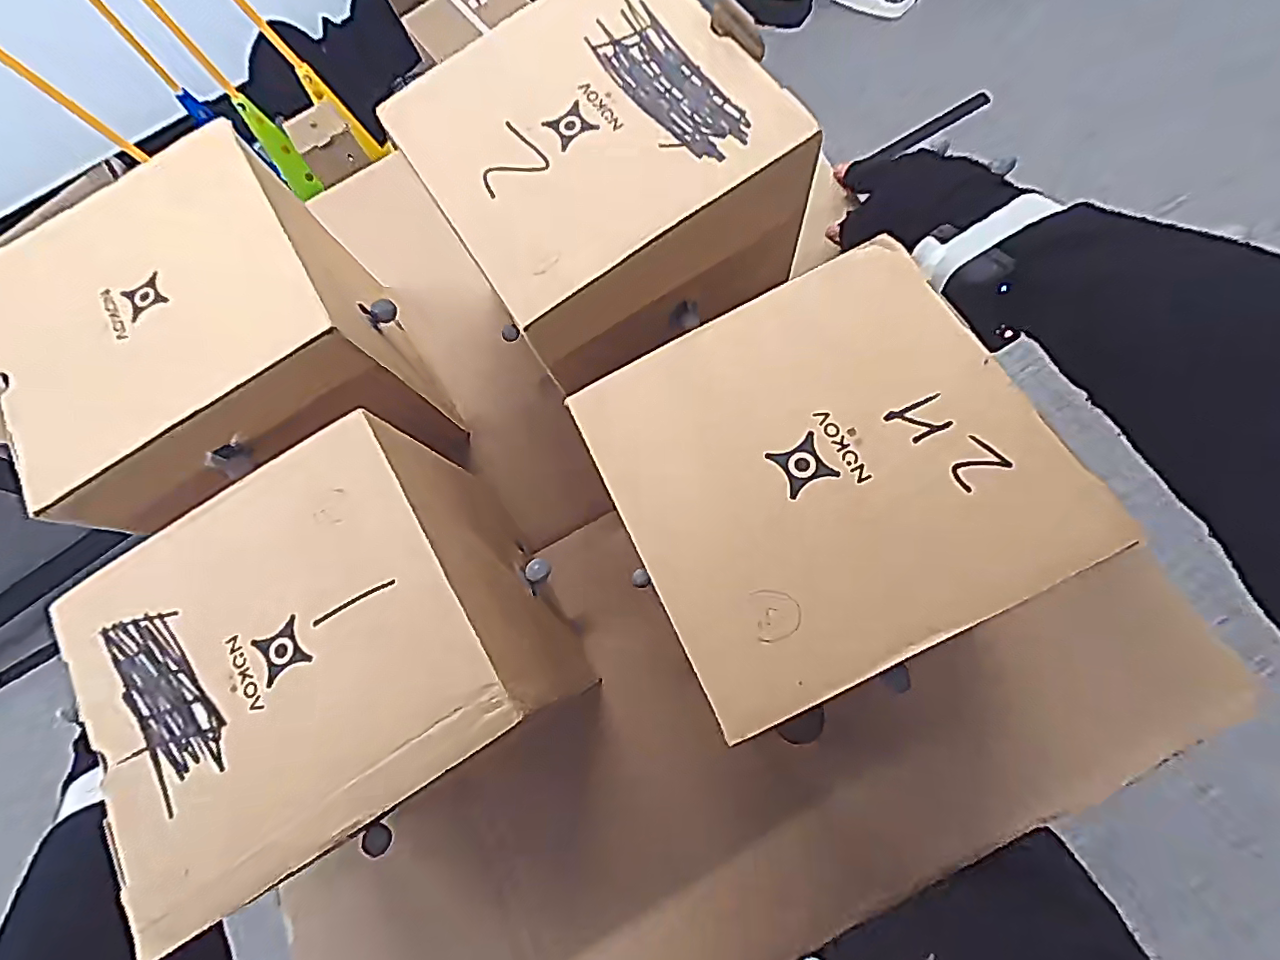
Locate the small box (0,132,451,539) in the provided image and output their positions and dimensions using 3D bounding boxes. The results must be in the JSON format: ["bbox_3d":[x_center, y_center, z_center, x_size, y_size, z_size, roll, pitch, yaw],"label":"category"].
[{"bbox_3d":[-0.258,-0.078,0.374,0.179,0.176,0.168,-34,74,-1],"label":"small box"}]
